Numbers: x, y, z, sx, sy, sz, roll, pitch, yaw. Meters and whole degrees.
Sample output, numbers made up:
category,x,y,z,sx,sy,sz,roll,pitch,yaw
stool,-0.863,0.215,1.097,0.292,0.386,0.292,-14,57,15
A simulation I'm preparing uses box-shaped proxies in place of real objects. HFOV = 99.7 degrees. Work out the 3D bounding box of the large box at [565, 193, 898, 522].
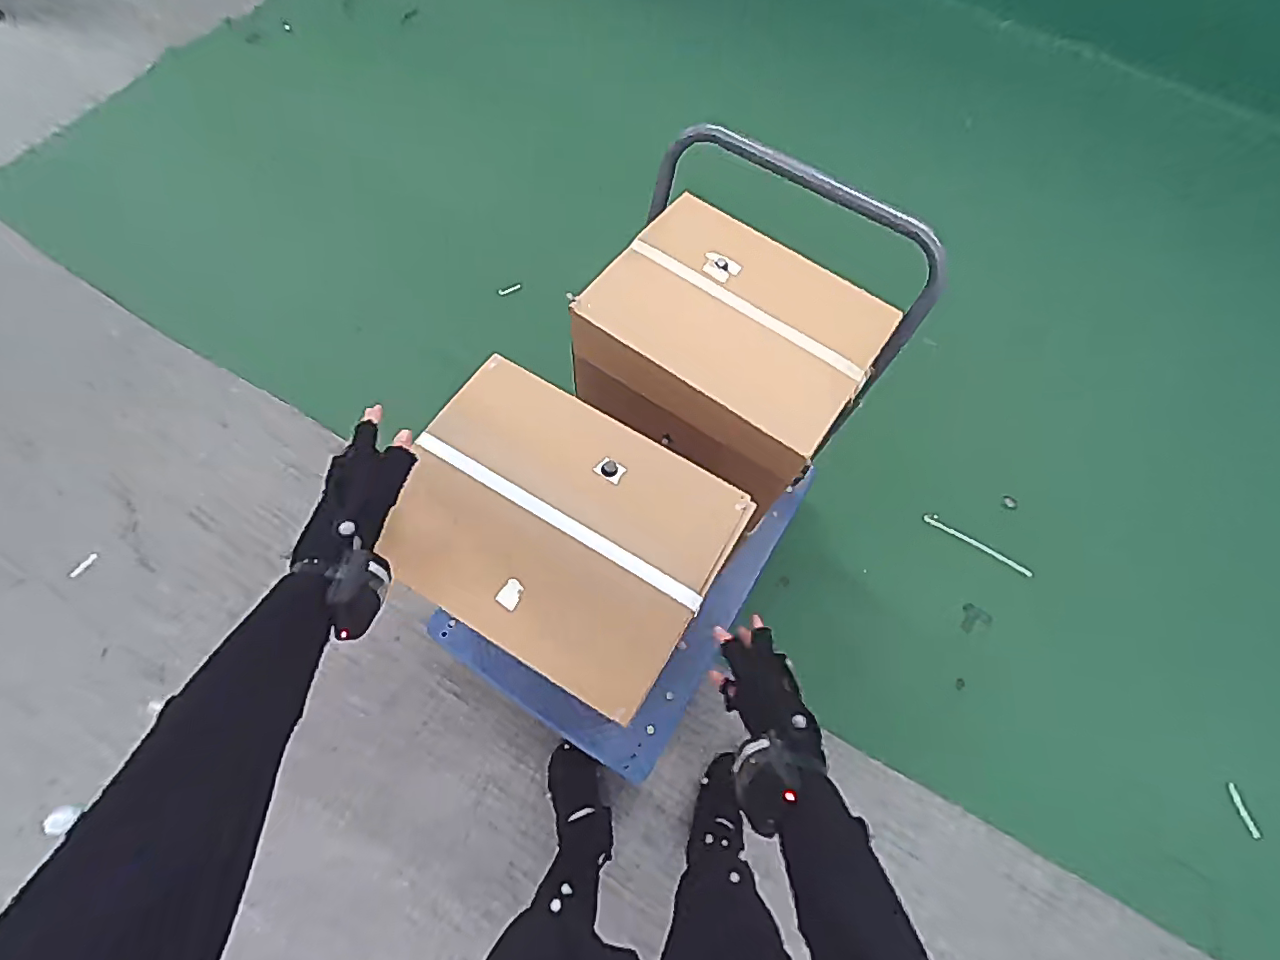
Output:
category,x,y,z,sx,sy,sz,roll,pitch,yaw
large box,0.135,-0.193,0.927,0.408,0.320,0.320,34,69,12
